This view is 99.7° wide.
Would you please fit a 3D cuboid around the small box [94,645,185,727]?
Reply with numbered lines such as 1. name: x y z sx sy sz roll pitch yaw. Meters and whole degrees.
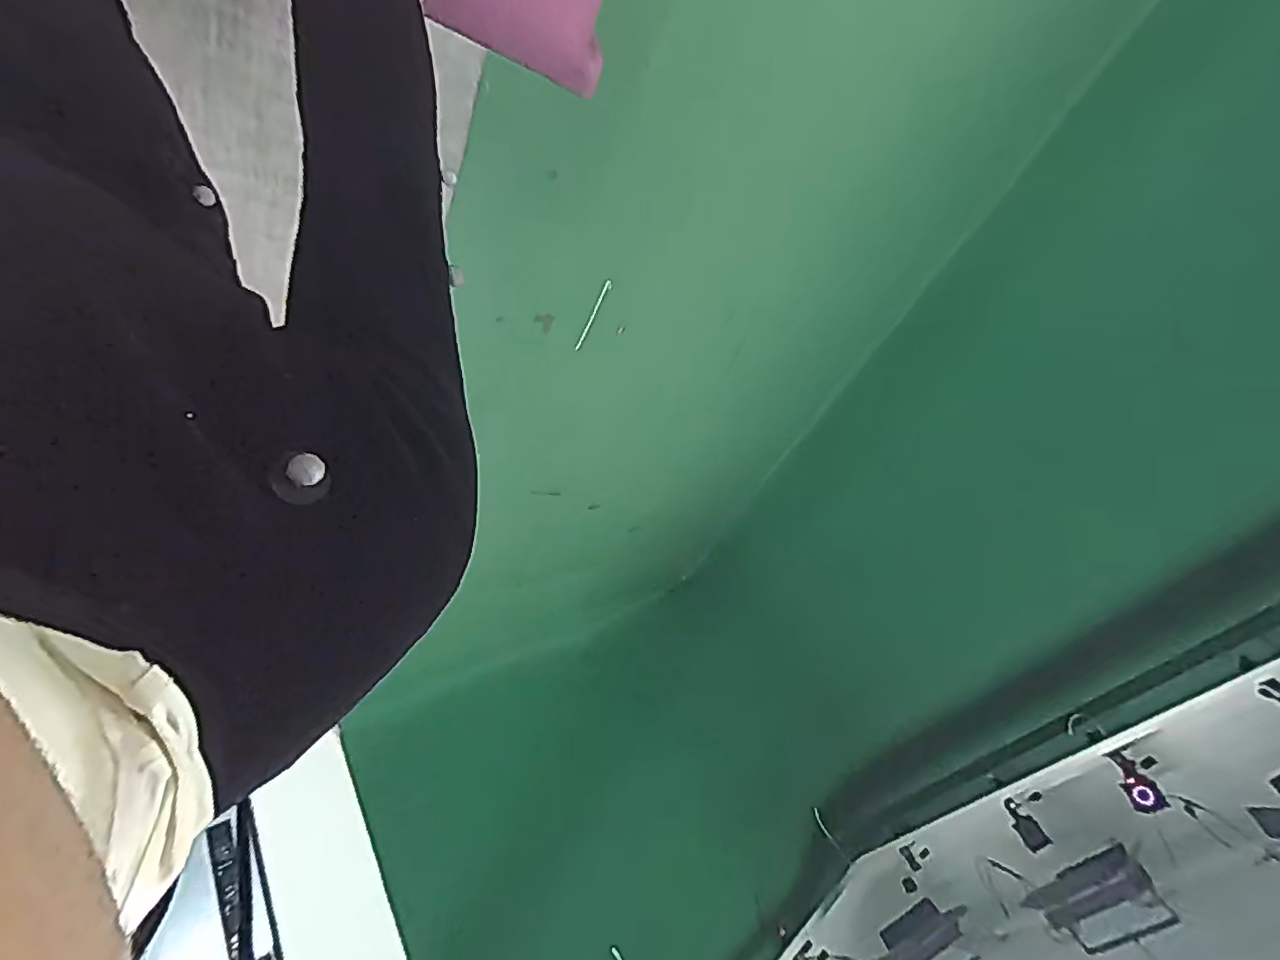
1. small box: -1.500 0.619 1.618 0.179 0.176 0.168 2 134 -50

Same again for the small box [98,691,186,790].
1. small box: -1.416 0.732 1.534 0.168 0.176 0.179 1 134 -49

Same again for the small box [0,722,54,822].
1. small box: -1.574 0.724 1.332 0.168 0.176 0.179 1 135 -49
